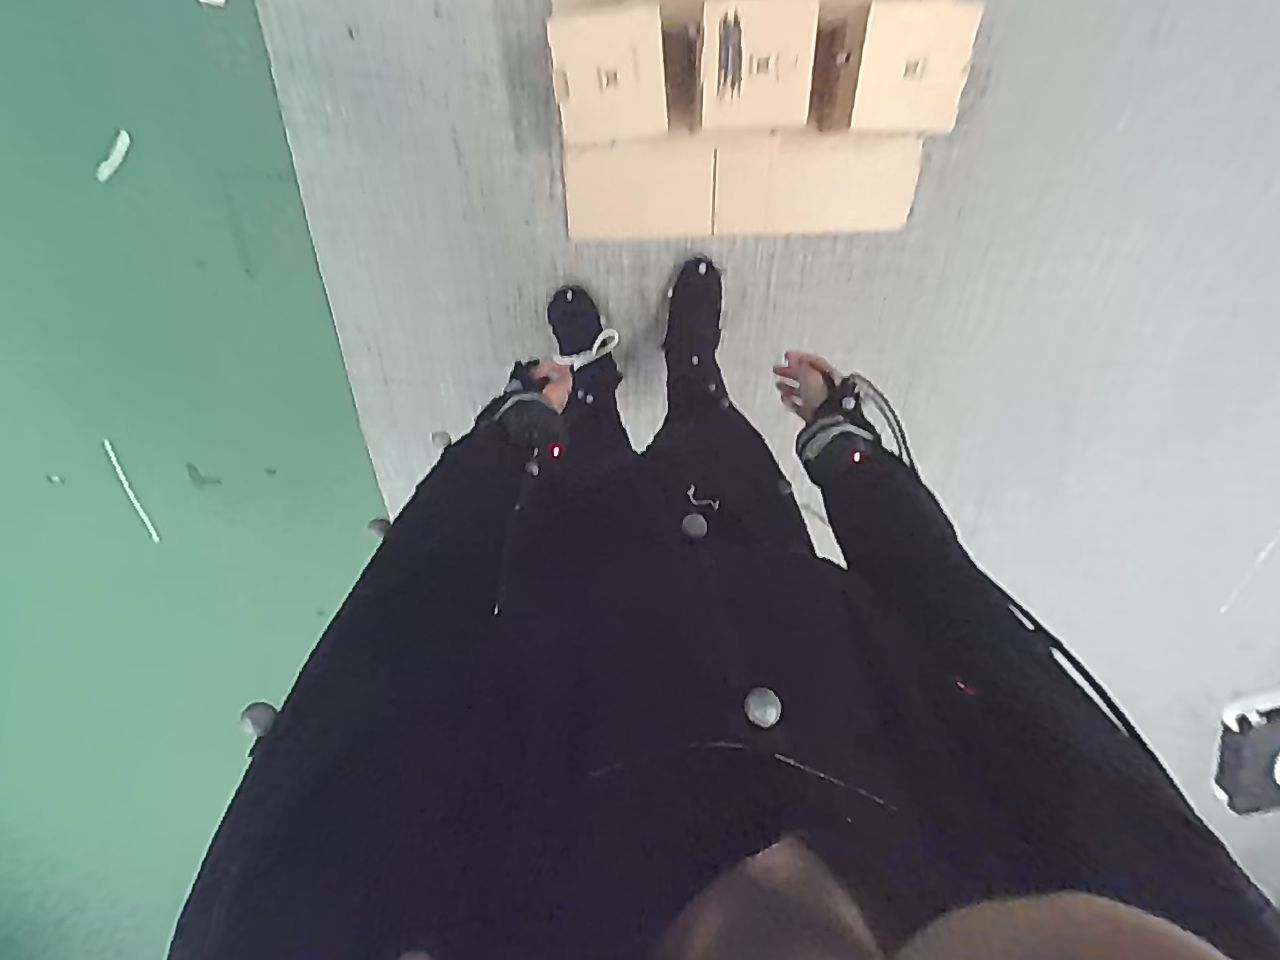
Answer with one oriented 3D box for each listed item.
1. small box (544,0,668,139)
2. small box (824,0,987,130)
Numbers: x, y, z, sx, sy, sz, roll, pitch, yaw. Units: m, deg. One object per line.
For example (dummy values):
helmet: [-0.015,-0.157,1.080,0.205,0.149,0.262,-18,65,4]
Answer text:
small box: [-0.050,-0.679,0.907,0.179,0.176,0.168,-6,122,2]
small box: [0.426,-0.689,0.905,0.179,0.176,0.168,0,120,-1]
